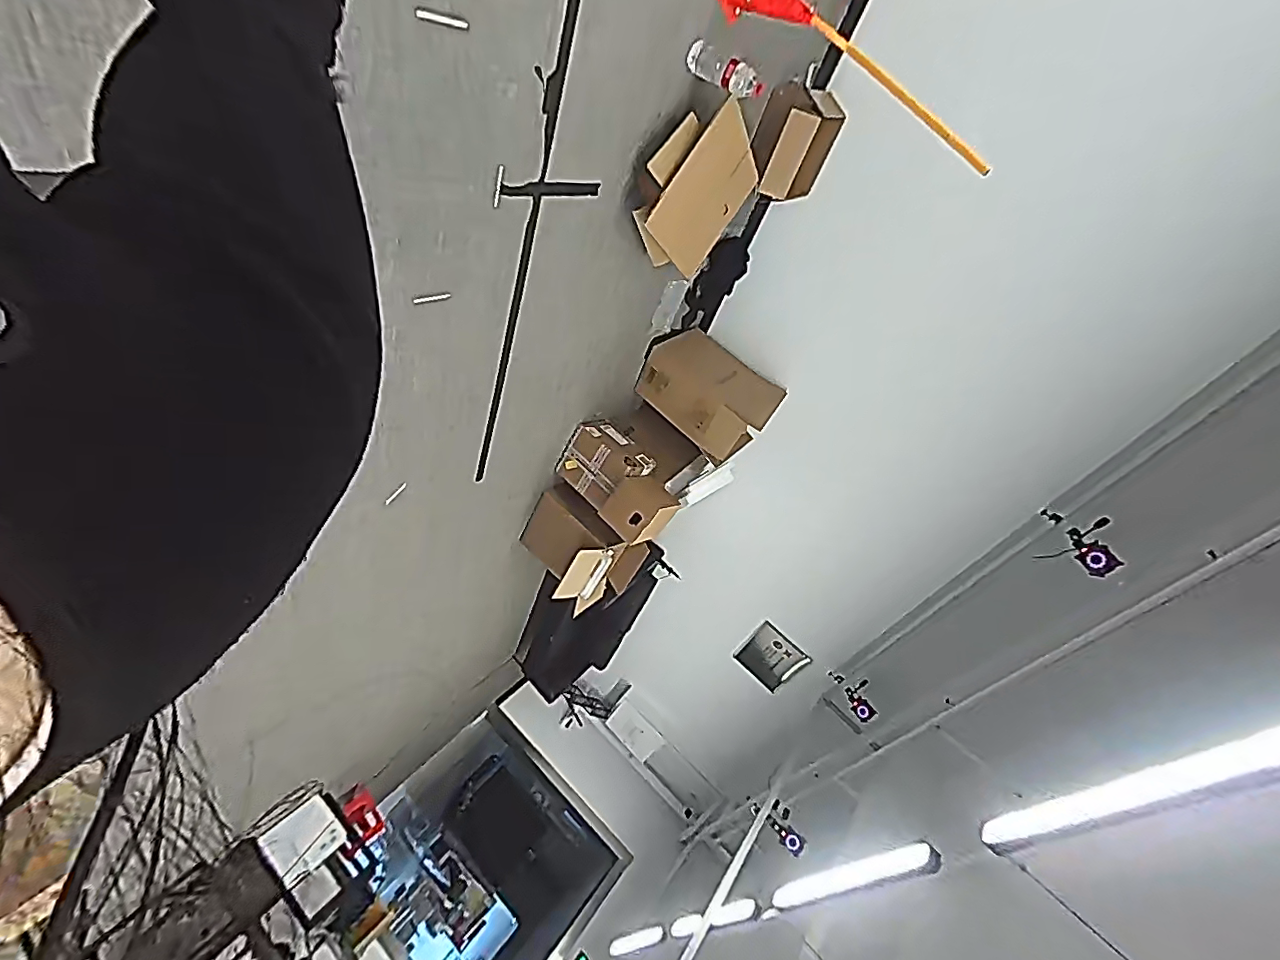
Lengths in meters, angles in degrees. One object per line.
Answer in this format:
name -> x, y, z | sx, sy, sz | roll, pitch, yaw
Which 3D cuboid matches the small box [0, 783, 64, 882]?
small box -> -1.769, 0.982, 1.492 | 0.179, 0.176, 0.168 | -33, 156, -44
